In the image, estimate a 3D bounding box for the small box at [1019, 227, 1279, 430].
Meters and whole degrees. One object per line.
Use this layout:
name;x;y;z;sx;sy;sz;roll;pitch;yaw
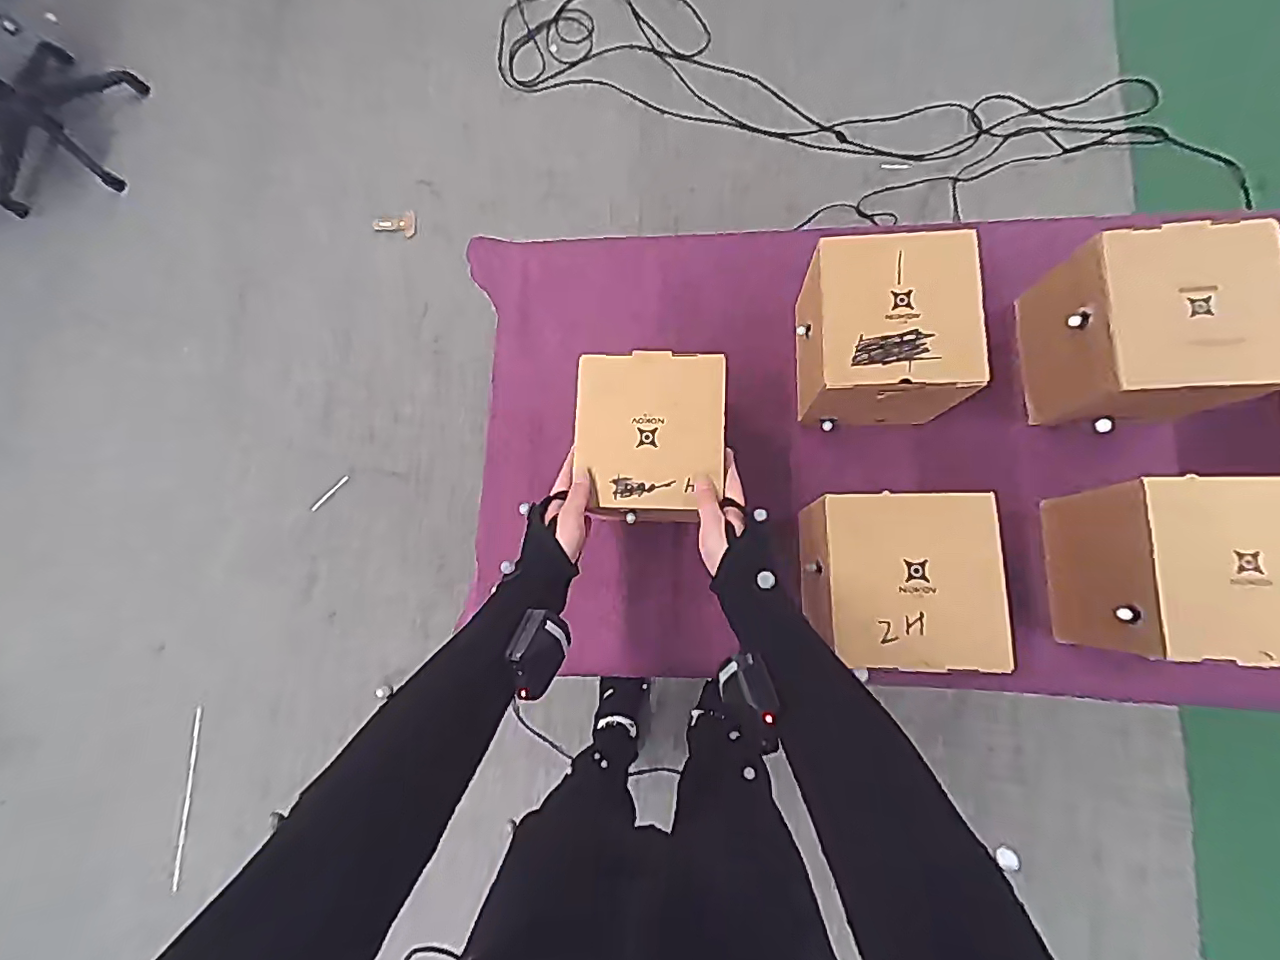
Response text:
small box;0.574;-0.163;0.628;0.168;0.176;0.179;0;82;7

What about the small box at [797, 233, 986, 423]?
small box;0.291;-0.171;0.660;0.168;0.176;0.179;0;81;6

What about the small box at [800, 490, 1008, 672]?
small box;0.281;0.111;0.617;0.168;0.176;0.179;0;81;7

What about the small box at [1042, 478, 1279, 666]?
small box;0.576;0.099;0.588;0.168;0.176;0.179;0;81;6
